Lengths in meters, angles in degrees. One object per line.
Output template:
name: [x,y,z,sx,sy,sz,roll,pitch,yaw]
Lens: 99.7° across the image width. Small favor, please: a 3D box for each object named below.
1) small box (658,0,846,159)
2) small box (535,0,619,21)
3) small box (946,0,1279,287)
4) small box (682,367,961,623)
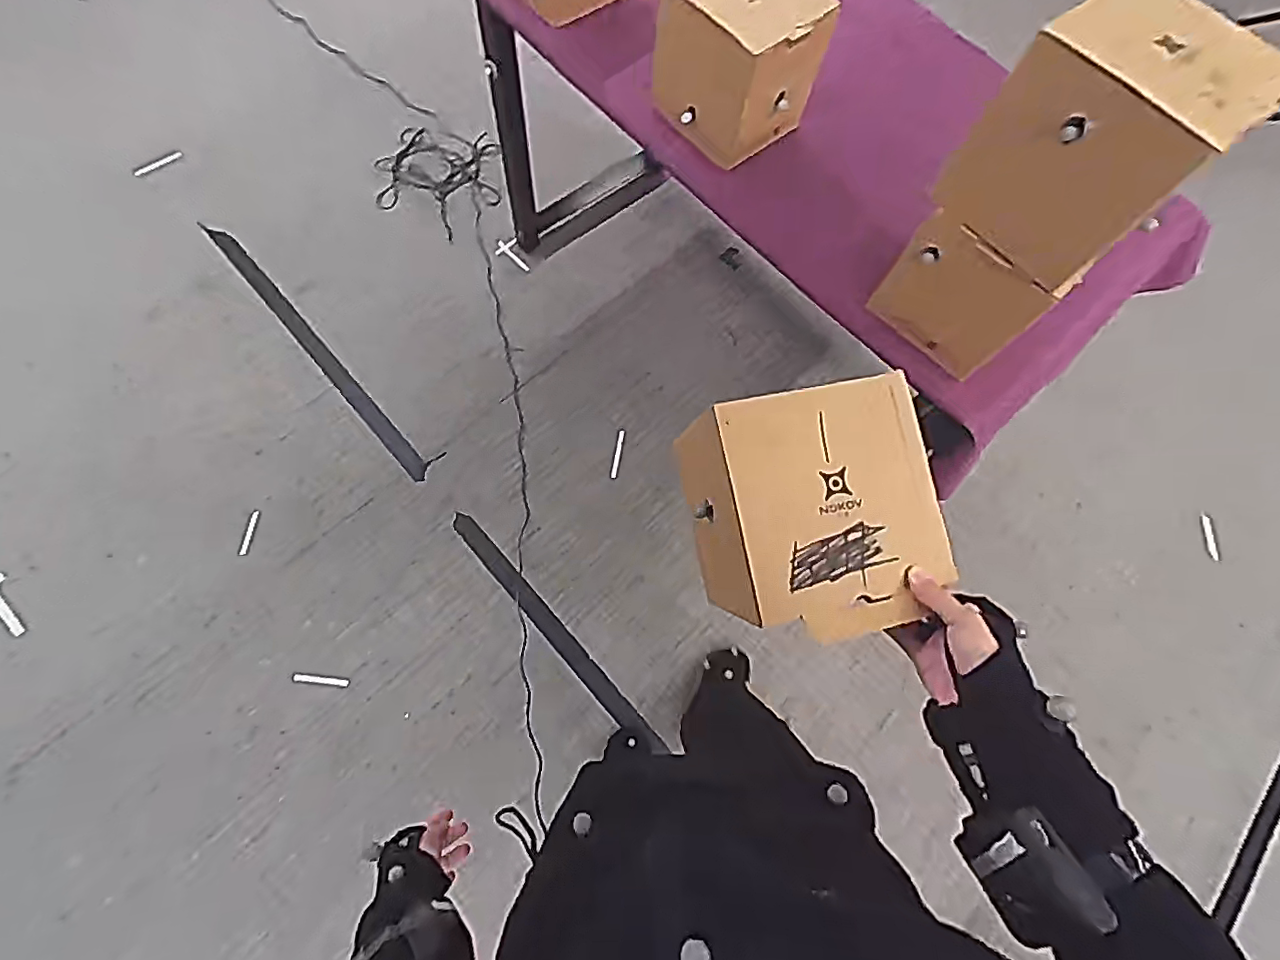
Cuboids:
small box: [0.146,-0.595,0.767,0.168,0.176,0.179,-39,79,-16]
small box: [-0.112,-0.868,0.839,0.179,0.176,0.168,-39,80,-17]
small box: [0.450,-0.329,0.526,0.168,0.176,0.179,-37,77,-16]
small box: [0.146,0.016,0.495,0.168,0.176,0.179,-11,84,-8]
